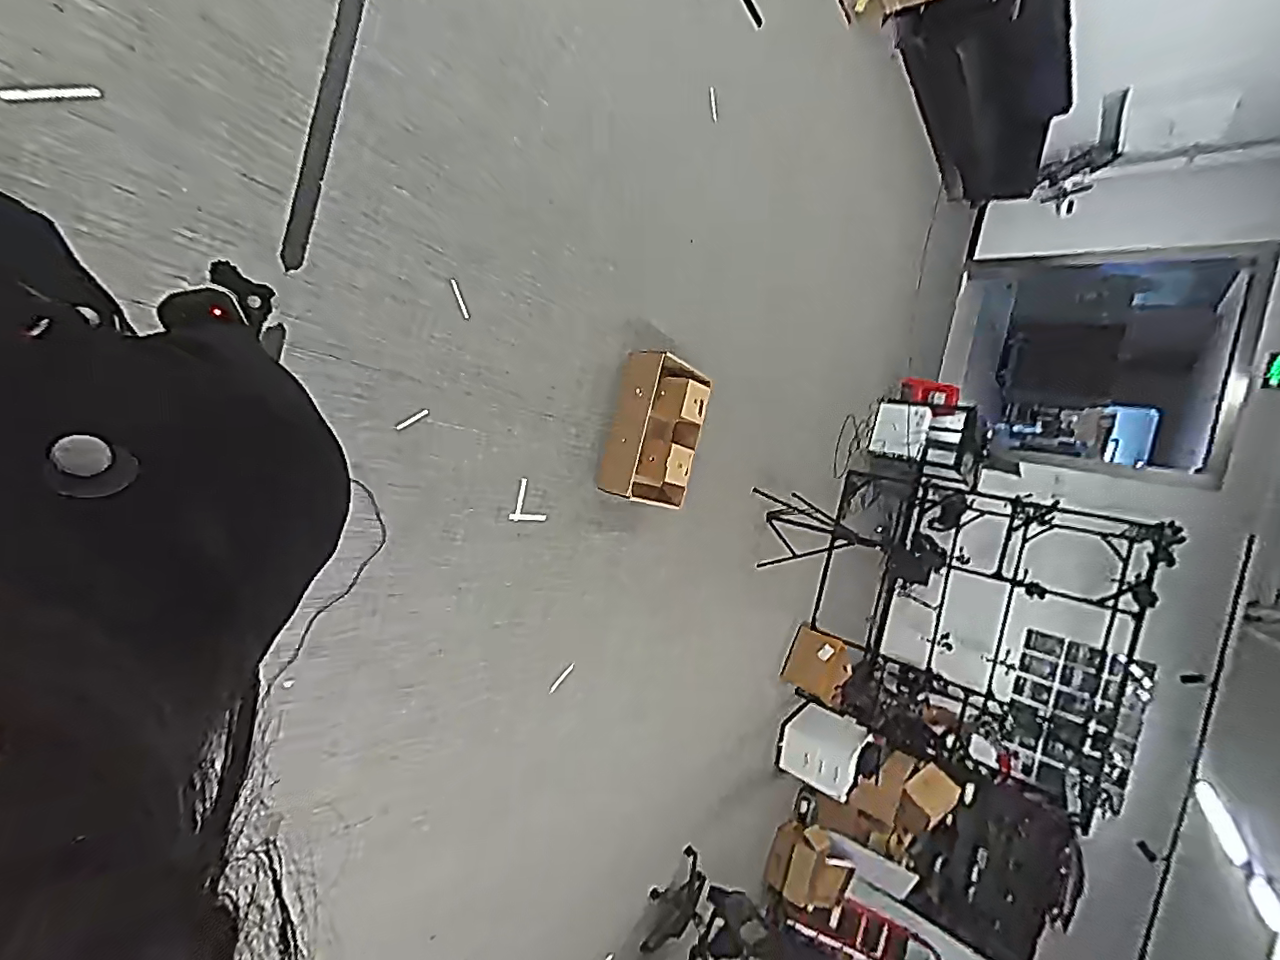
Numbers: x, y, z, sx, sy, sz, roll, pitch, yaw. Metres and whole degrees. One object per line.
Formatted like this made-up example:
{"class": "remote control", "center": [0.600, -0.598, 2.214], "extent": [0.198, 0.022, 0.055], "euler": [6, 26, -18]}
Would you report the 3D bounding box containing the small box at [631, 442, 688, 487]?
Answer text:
{"class": "small box", "center": [0.084, -0.070, 2.394], "extent": [0.179, 0.176, 0.168], "euler": [17, 84, -50]}
